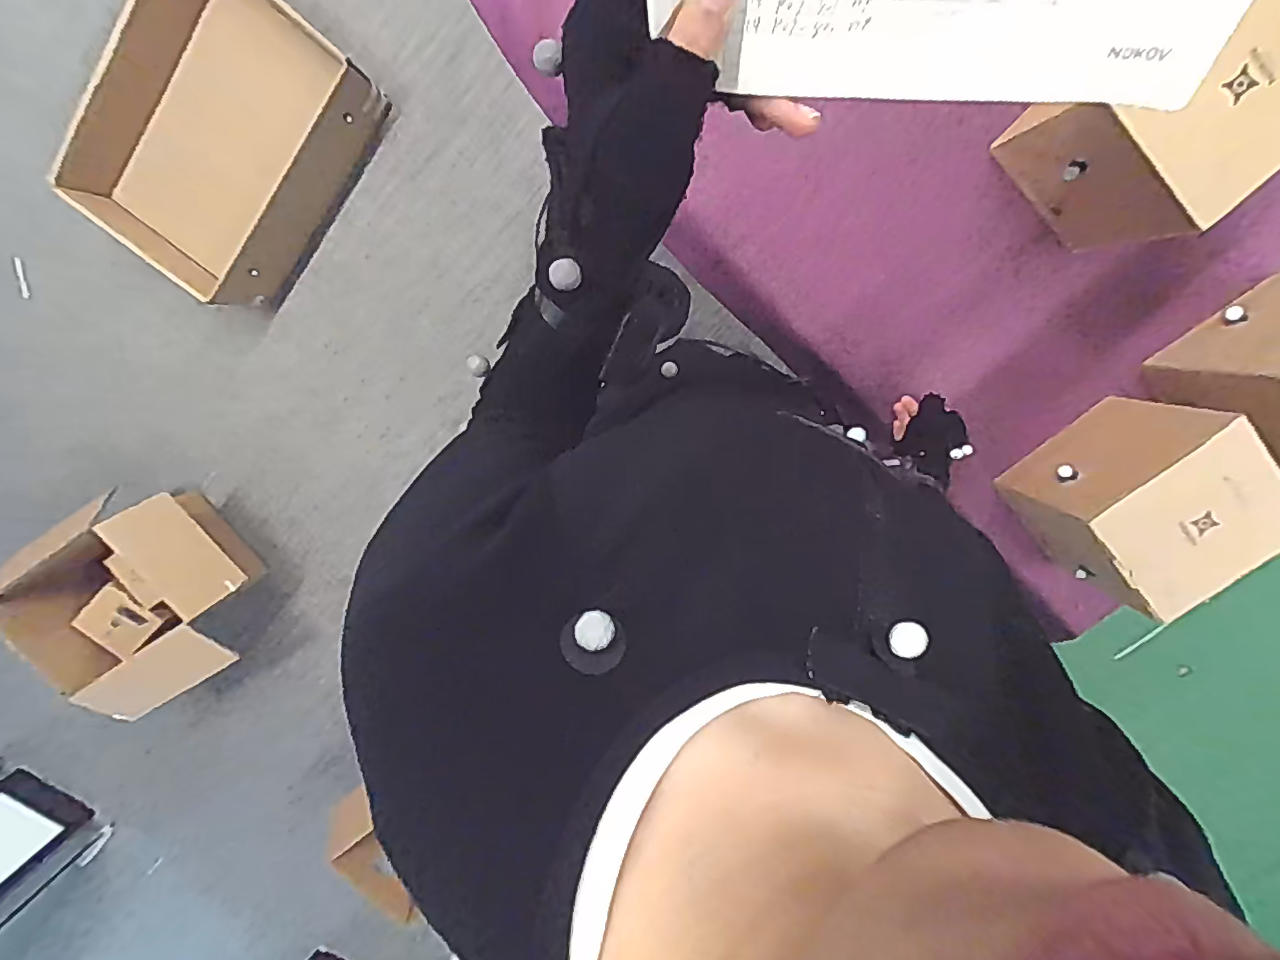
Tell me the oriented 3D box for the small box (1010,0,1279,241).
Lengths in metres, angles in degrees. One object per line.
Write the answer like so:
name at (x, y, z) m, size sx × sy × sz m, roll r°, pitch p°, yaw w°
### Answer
small box at (0.512, -0.366, 0.532) m, size 0.168 × 0.176 × 0.179 m, roll 43°, pitch 102°, yaw -10°

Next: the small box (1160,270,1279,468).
small box at (0.739, -0.120, 0.594) m, size 0.179 × 0.176 × 0.168 m, roll -38°, pitch 102°, yaw 12°
